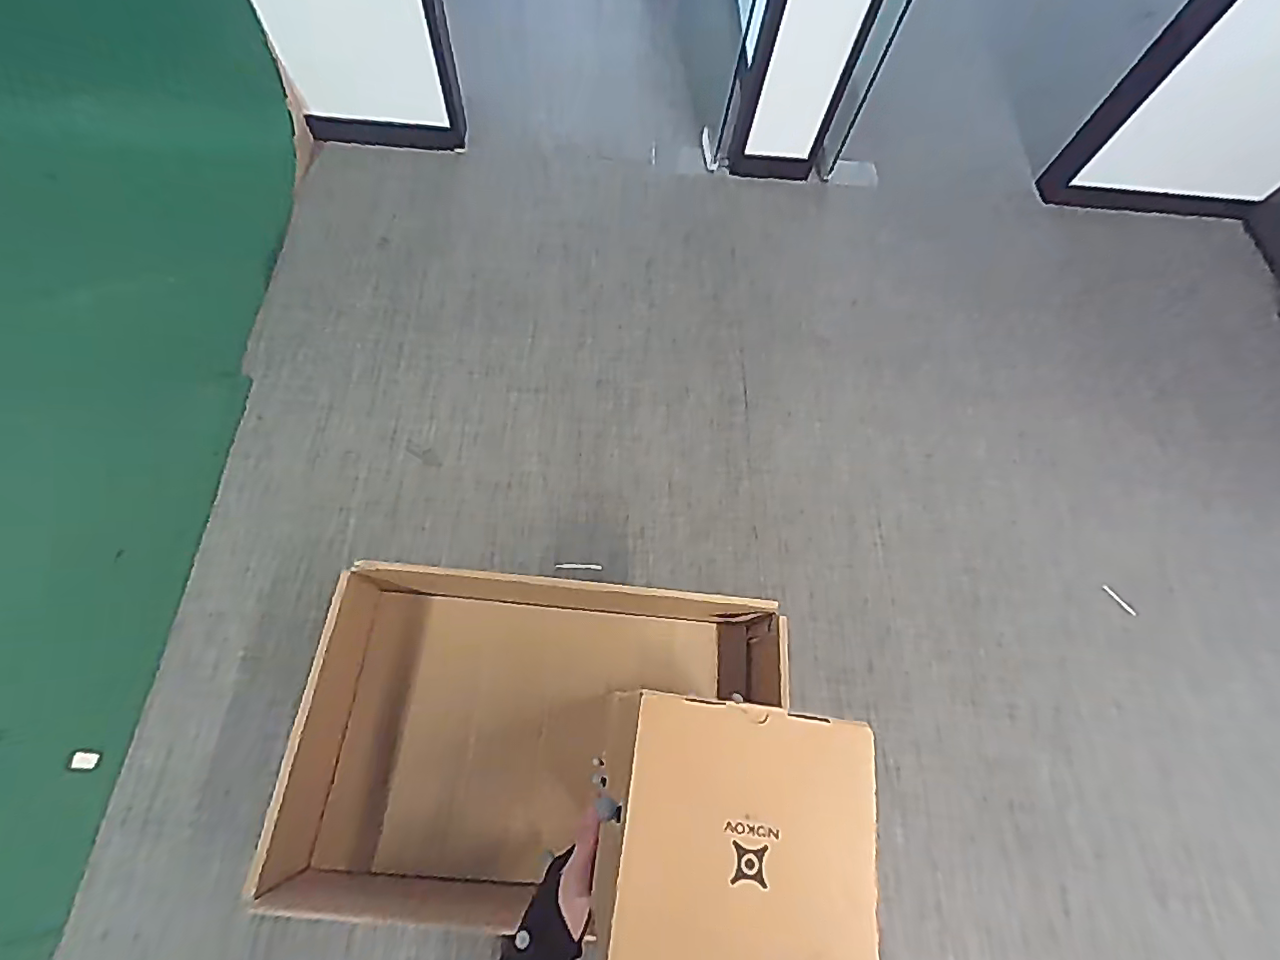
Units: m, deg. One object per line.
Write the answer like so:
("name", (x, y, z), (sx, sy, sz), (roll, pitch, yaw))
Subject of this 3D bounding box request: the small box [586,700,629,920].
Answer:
("small box", (0.041, 0.336, 0.562), (0.168, 0.176, 0.179), (9, 65, -2))

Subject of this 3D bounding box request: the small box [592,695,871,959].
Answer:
("small box", (0.058, 0.272, 0.414), (0.168, 0.176, 0.179), (9, 65, -1))
